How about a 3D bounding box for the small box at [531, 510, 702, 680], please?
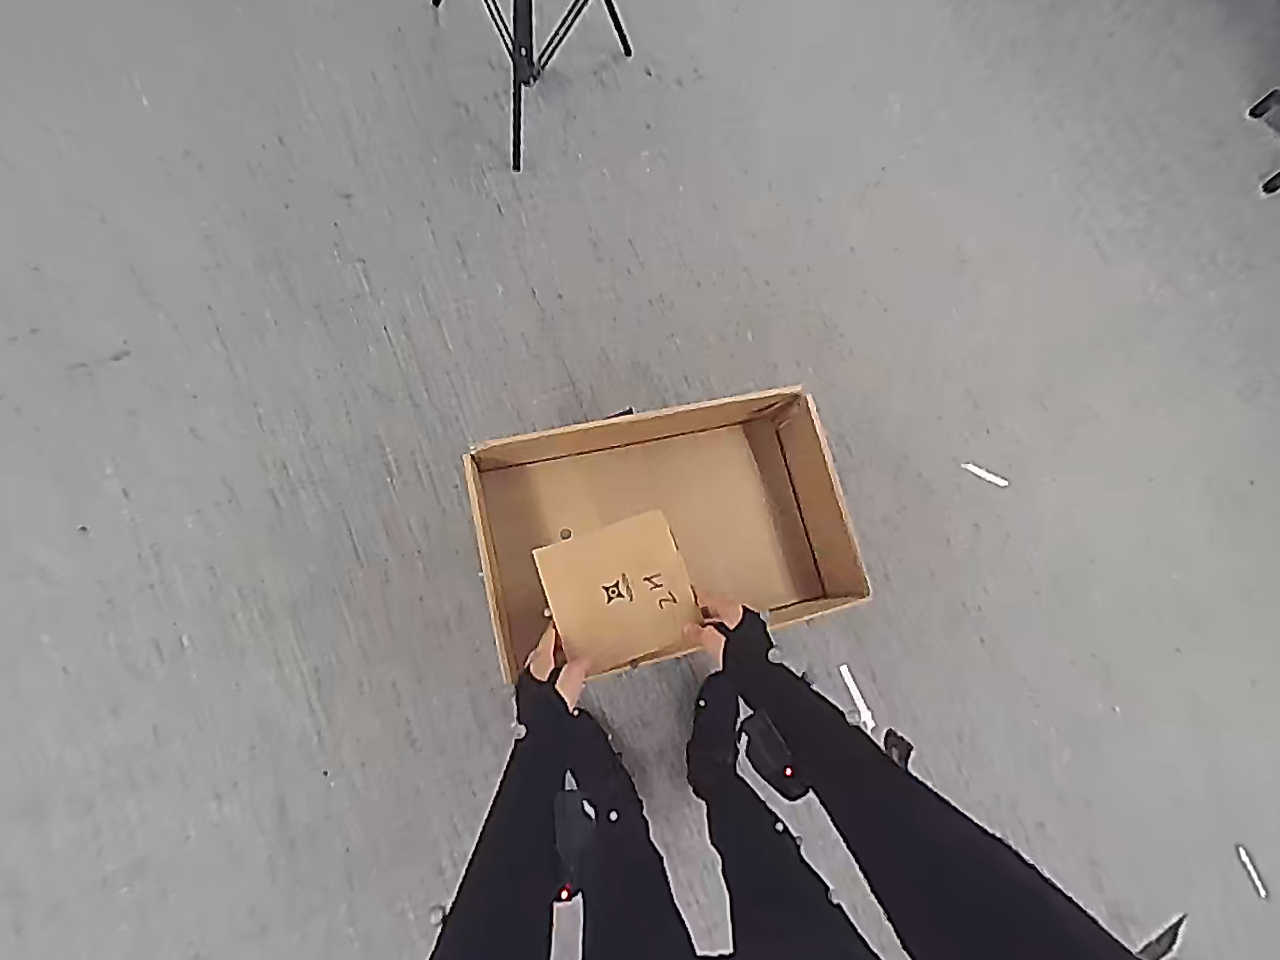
[{"bbox_3d":[-0.035,0.156,0.742,0.179,0.176,0.168,-18,80,-9],"label":"small box"}]
